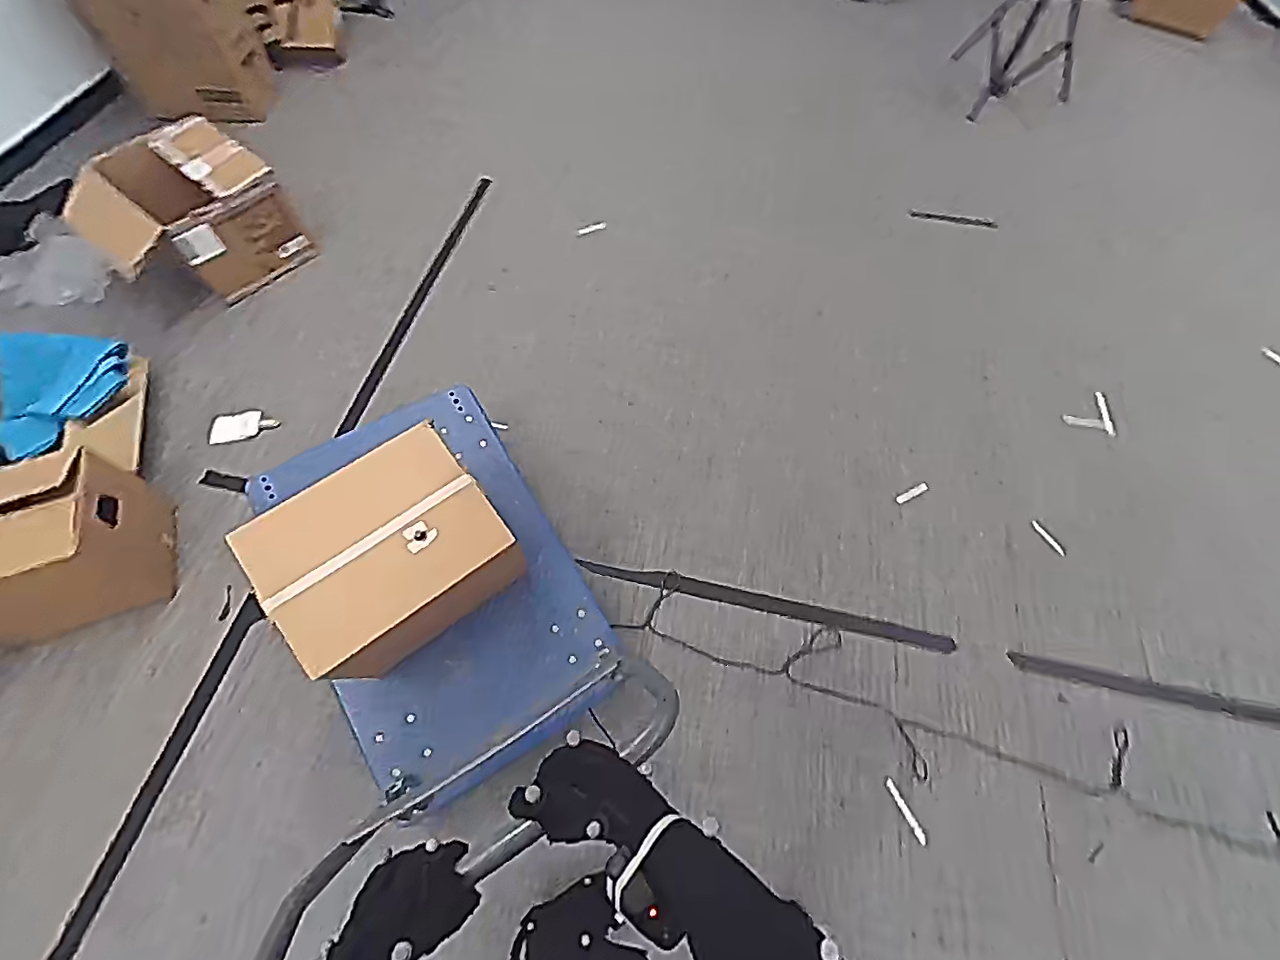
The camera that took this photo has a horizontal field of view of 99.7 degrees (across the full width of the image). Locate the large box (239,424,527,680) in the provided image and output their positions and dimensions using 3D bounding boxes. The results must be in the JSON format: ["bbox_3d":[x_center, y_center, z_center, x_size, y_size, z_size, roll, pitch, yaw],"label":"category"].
[{"bbox_3d":[-0.495,0.163,1.135,0.408,0.320,0.320,-36,79,-18],"label":"large box"}]
